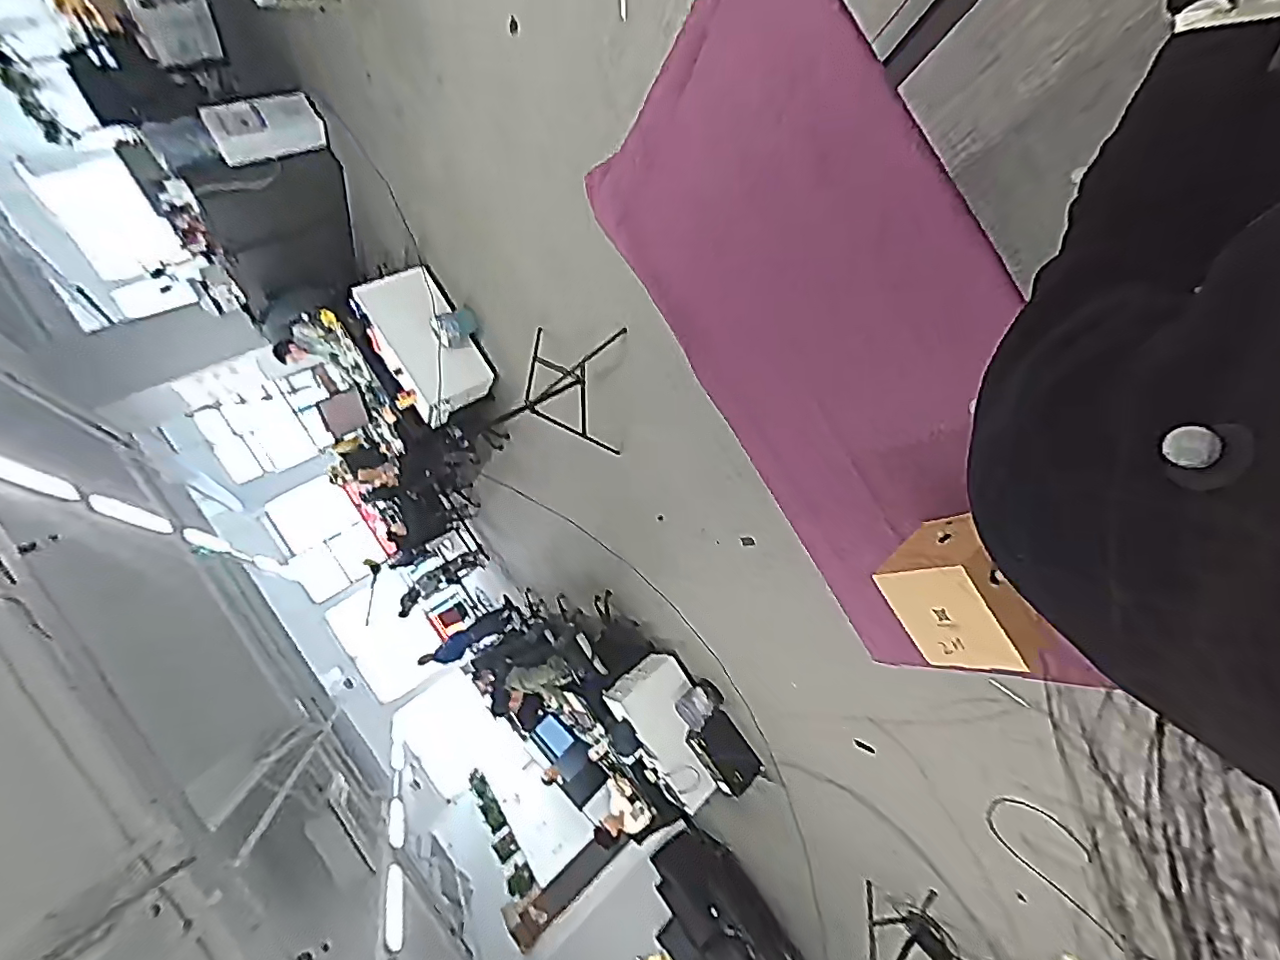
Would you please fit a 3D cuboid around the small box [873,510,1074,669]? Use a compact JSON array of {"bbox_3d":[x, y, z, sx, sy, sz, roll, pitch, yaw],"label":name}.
[{"bbox_3d":[0.509,0.161,0.832,0.179,0.176,0.168,57,155,0],"label":"small box"}]
